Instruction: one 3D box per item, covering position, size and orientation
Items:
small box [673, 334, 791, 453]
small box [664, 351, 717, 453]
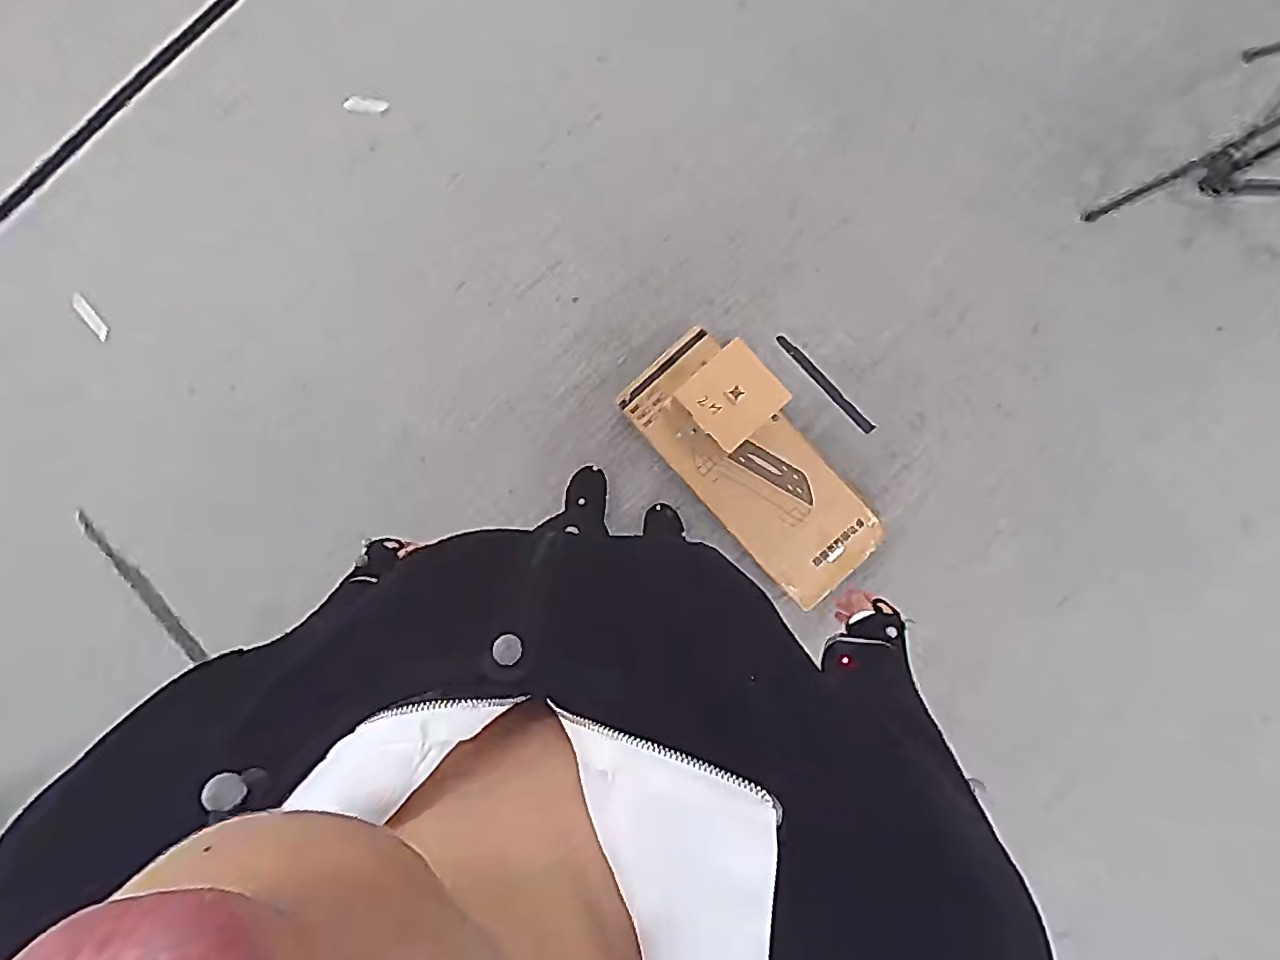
[{"bbox_3d":[0.183,-0.174,1.144,0.179,0.176,0.168,-41,88,1],"label":"small box"},{"bbox_3d":[0.171,-0.182,1.310,0.179,0.176,0.168,-43,88,2],"label":"small box"}]
